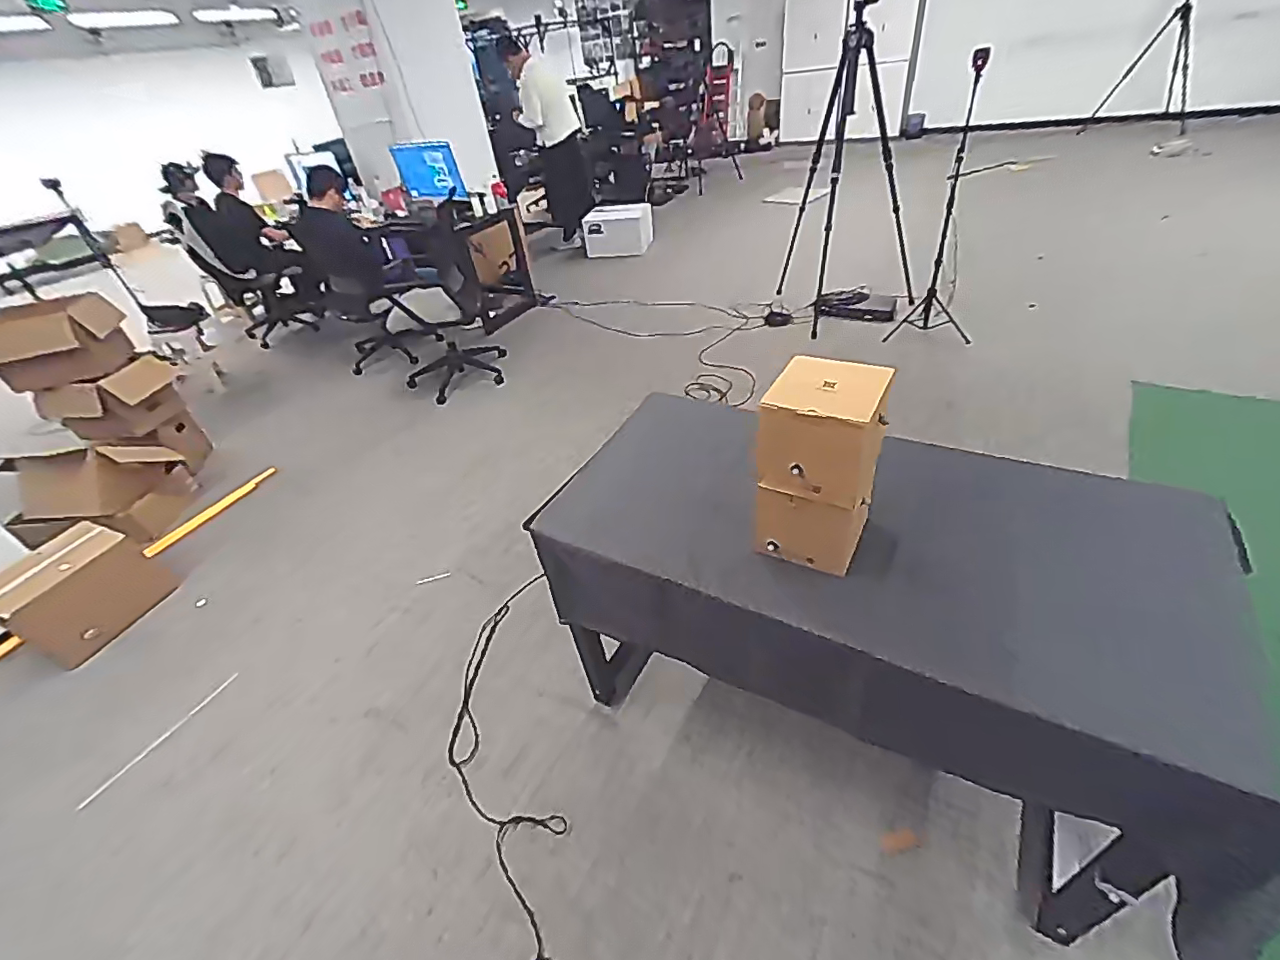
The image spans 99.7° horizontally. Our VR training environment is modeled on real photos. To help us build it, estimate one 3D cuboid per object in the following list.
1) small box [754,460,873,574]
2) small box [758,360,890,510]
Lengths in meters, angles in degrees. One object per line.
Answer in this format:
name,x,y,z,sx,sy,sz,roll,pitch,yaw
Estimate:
small box,0.324,0.047,1.011,0.168,0.176,0.179,15,43,28
small box,0.303,-0.079,0.910,0.168,0.176,0.179,15,44,28
